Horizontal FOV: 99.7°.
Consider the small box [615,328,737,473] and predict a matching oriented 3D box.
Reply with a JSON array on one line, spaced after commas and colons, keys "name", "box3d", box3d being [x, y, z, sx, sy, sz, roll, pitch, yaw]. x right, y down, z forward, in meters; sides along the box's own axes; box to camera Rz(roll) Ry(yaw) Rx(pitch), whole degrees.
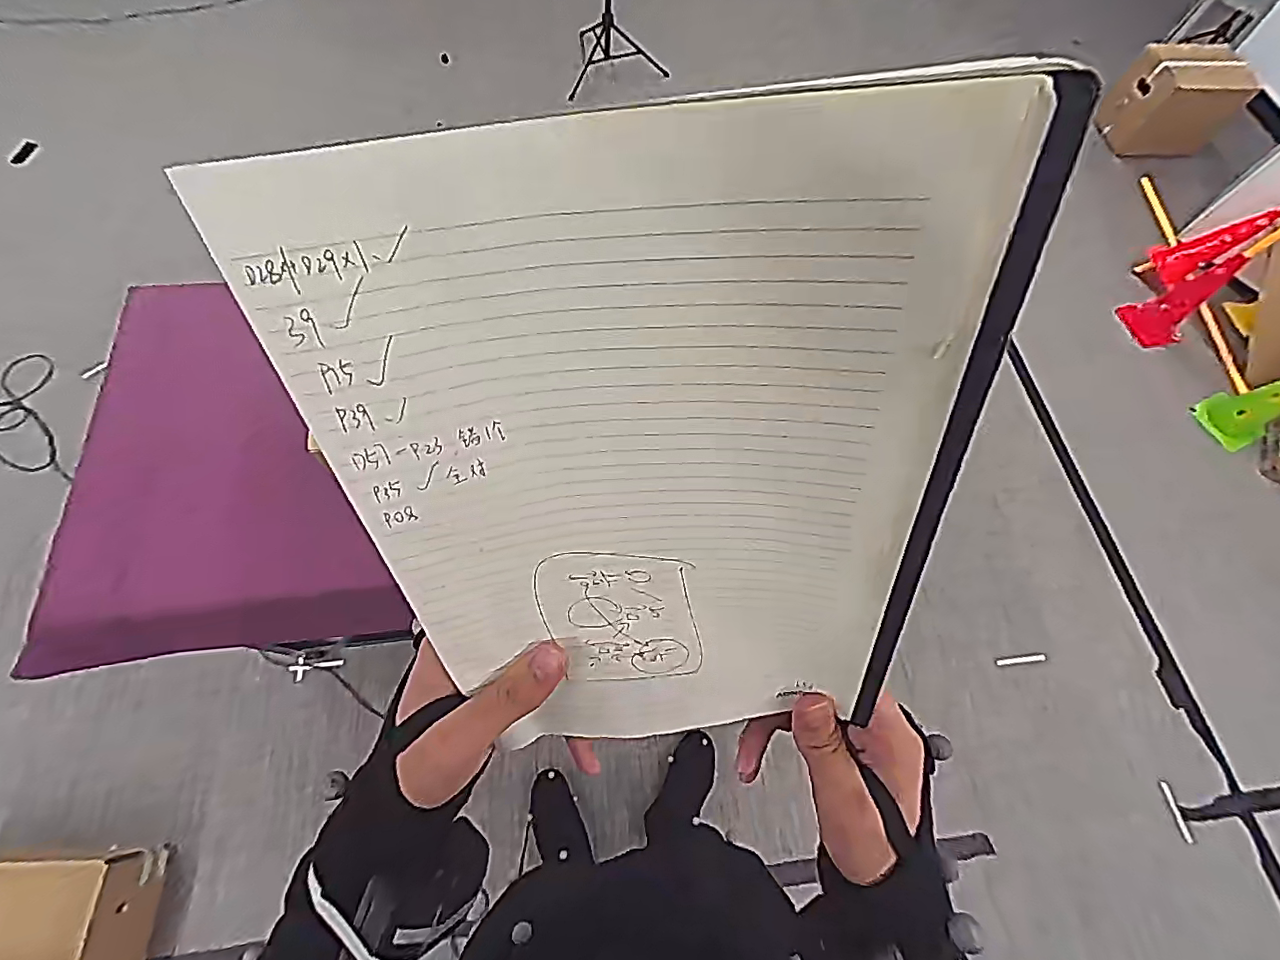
[{"name": "small box", "box3d": [0.047, -0.118, 0.864, 0.168, 0.176, 0.179, -3, 65, -6]}]
